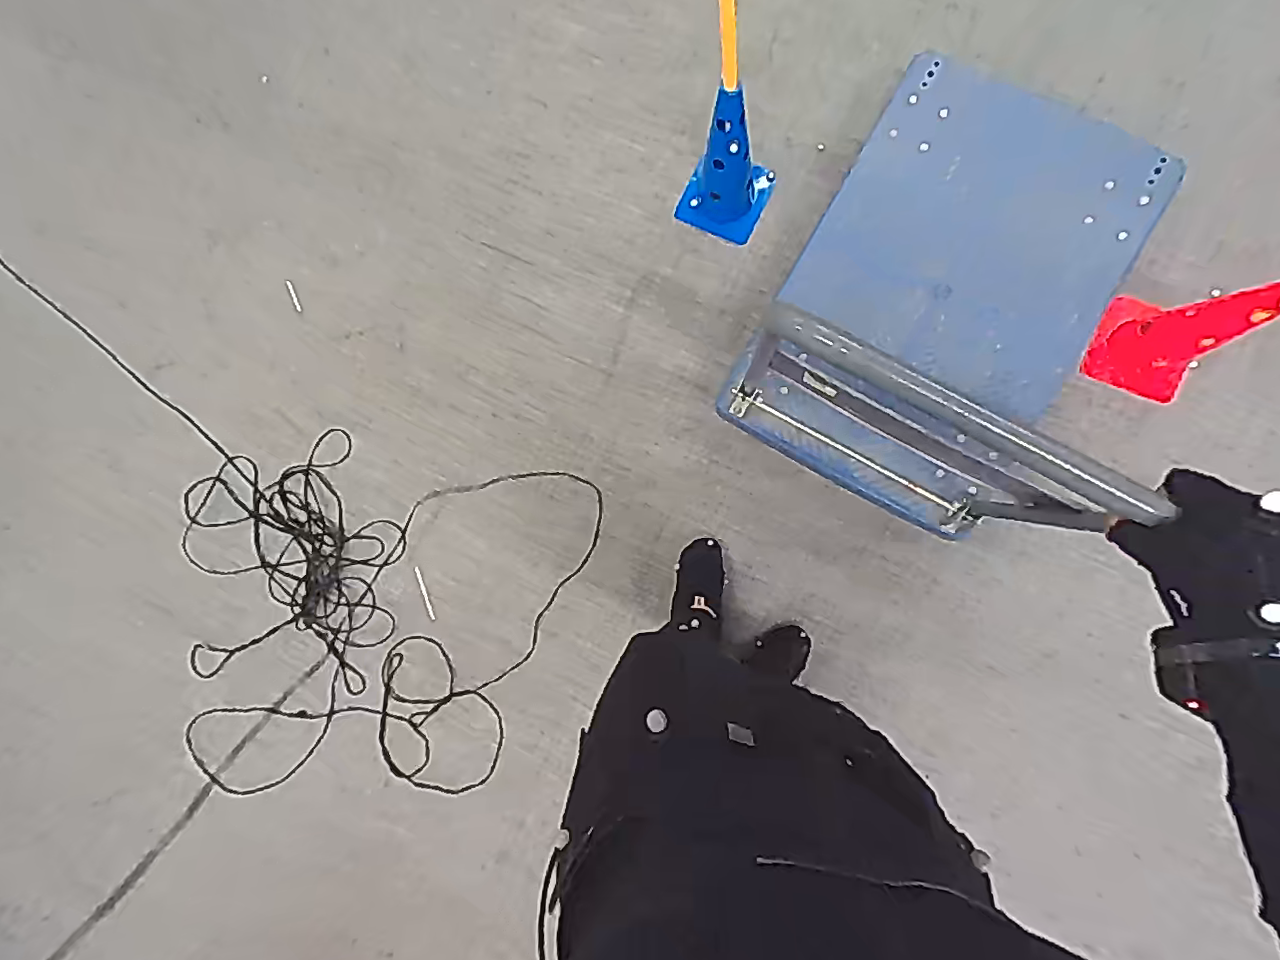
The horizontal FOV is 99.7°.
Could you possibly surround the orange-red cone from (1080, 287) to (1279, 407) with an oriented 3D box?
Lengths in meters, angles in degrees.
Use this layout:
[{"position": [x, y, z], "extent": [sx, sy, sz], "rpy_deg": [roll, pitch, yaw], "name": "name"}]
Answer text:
[{"position": [1.097, -0.293, 1.049], "extent": [0.199, 0.360, 0.198], "rpy_deg": [26, 90, 10], "name": "orange-red cone"}]
